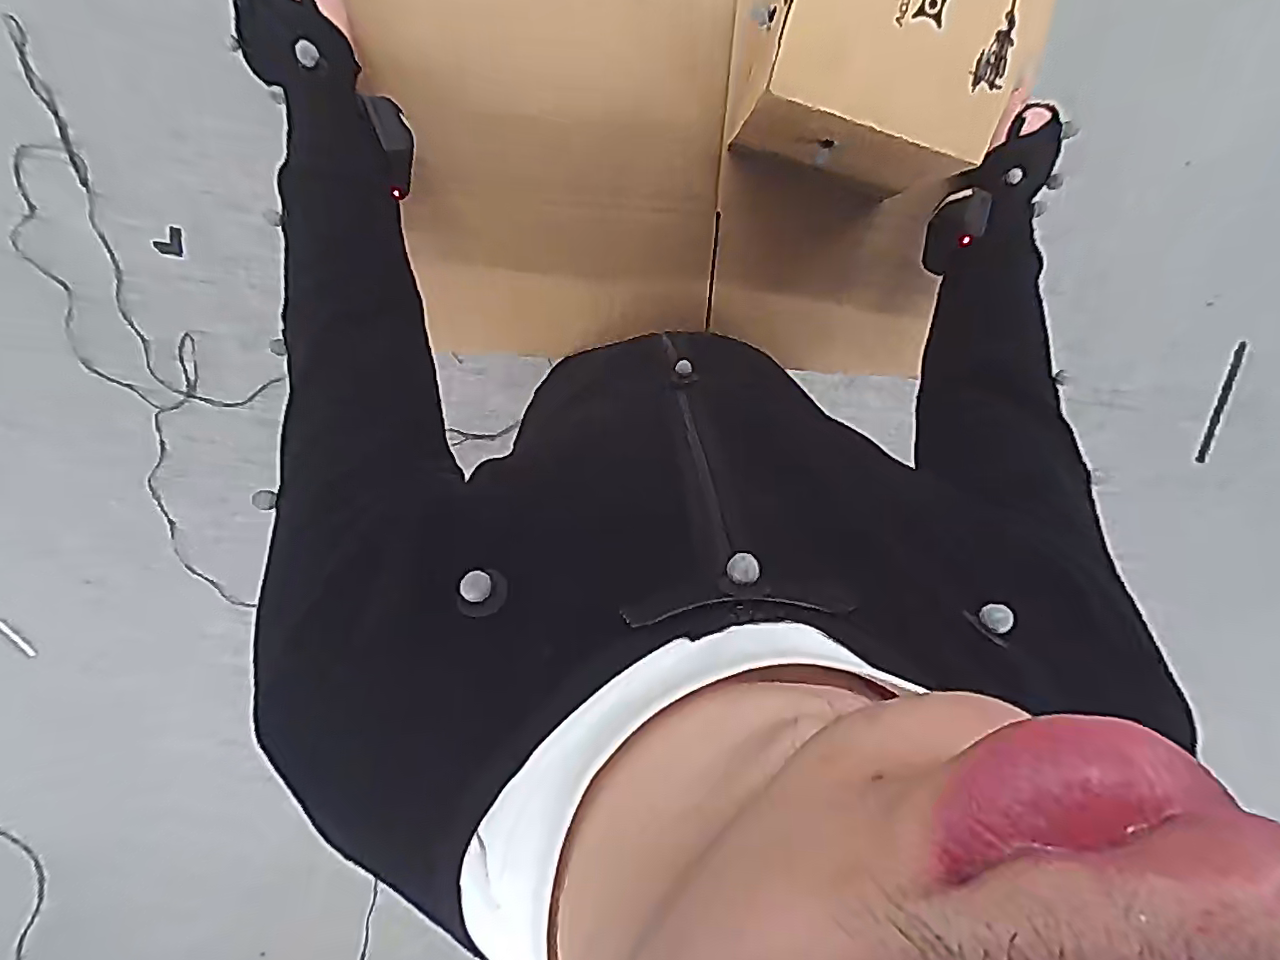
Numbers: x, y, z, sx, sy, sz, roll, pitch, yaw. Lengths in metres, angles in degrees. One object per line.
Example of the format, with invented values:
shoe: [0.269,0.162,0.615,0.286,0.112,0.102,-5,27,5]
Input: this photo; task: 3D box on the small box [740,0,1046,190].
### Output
small box: [0.199,-0.366,0.457,0.179,0.176,0.168,15,108,-5]
